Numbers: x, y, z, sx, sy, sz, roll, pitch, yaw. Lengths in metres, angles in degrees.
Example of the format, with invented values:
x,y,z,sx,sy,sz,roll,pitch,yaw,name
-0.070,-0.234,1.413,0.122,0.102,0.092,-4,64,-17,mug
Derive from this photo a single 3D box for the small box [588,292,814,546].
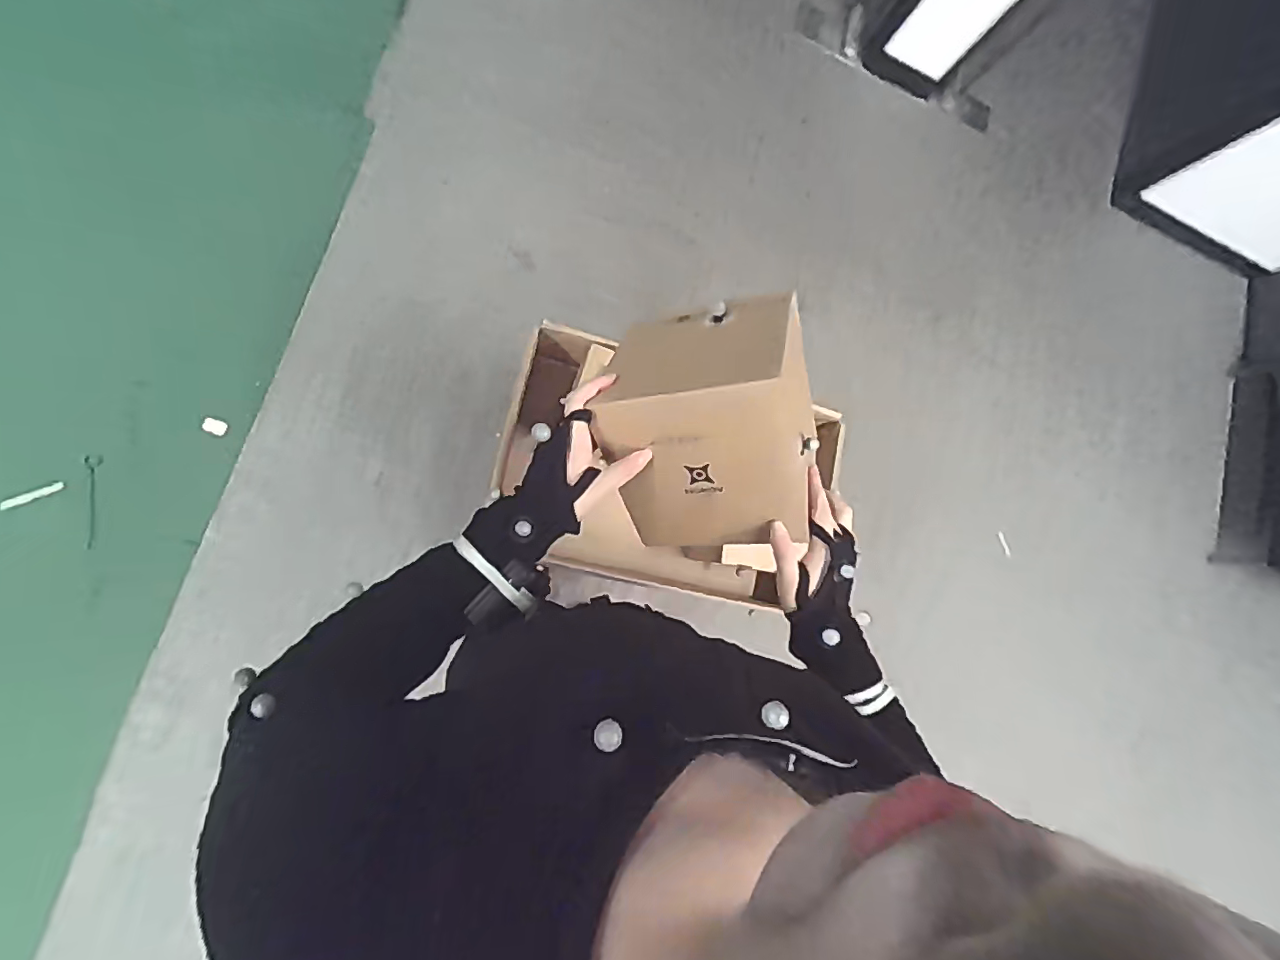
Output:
x,y,z,sx,sy,sz,roll,pitch,yaw,name
0.075,-0.055,0.525,0.176,0.168,0.179,-70,148,-45,small box
